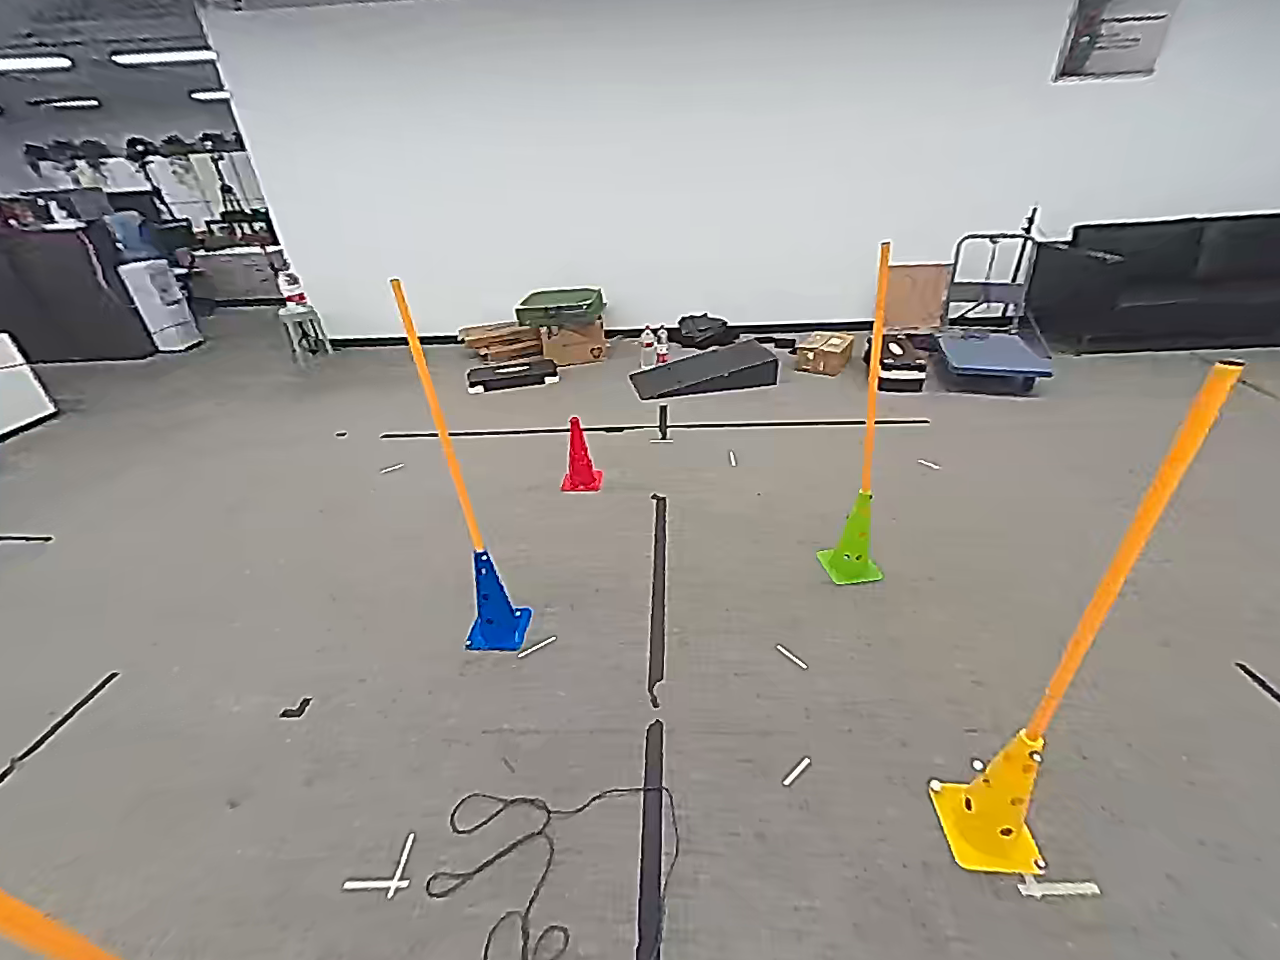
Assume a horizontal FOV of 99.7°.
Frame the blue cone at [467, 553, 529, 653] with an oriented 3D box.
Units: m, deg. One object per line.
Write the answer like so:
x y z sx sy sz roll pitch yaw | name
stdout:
-0.510 0.400 1.847 0.193 0.380 0.192 0 31 6 | blue cone

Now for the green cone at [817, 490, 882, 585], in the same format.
0.822 0.196 2.062 0.200 0.368 0.202 -6 33 -6 | green cone
